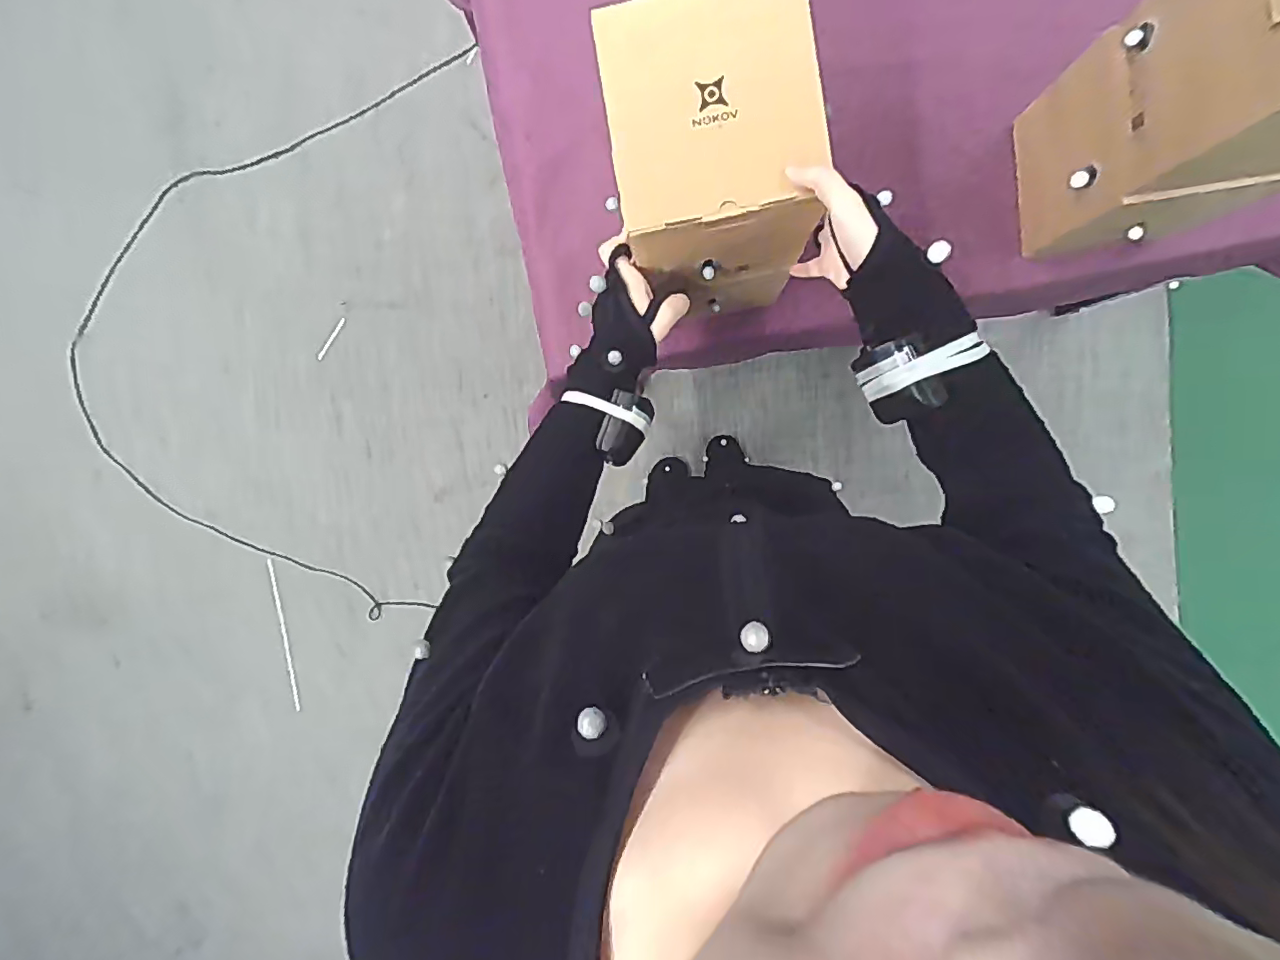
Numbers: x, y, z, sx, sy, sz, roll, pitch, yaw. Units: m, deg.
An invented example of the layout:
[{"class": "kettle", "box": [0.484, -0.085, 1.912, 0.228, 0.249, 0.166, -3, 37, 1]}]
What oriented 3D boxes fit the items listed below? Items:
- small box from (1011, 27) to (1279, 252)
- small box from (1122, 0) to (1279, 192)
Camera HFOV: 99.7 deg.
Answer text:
[{"class": "small box", "box": [0.558, -0.375, 0.615, 0.168, 0.176, 0.179, -6, 94, 5]}, {"class": "small box", "box": [0.551, -0.365, 0.450, 0.179, 0.176, 0.168, -6, 95, 5]}]
